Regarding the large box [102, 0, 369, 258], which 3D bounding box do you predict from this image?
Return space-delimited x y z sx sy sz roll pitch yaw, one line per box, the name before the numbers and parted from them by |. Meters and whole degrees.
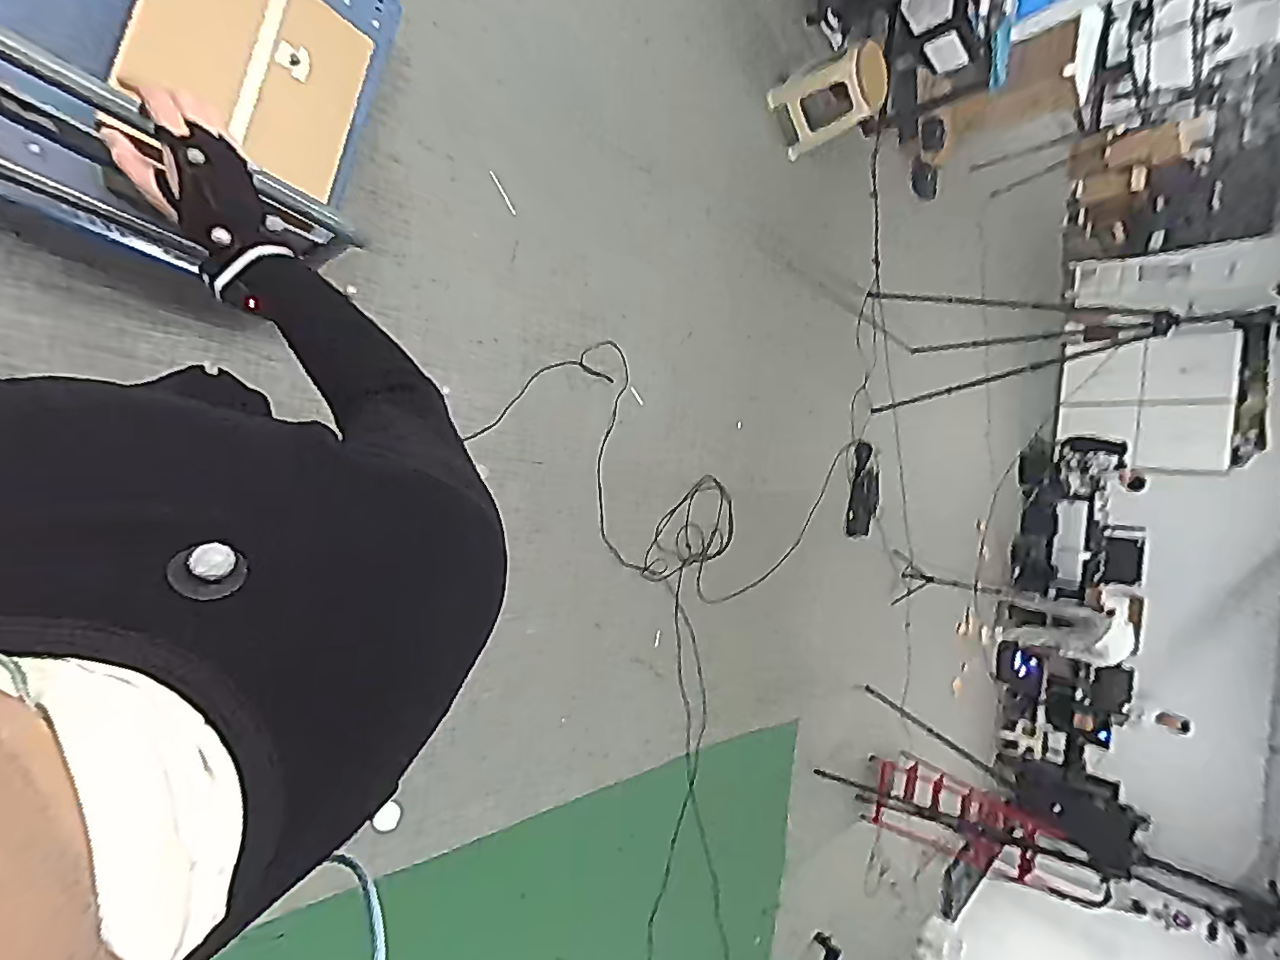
large box | -0.782 -0.722 1.058 0.320 0.320 0.408 18 81 -44
